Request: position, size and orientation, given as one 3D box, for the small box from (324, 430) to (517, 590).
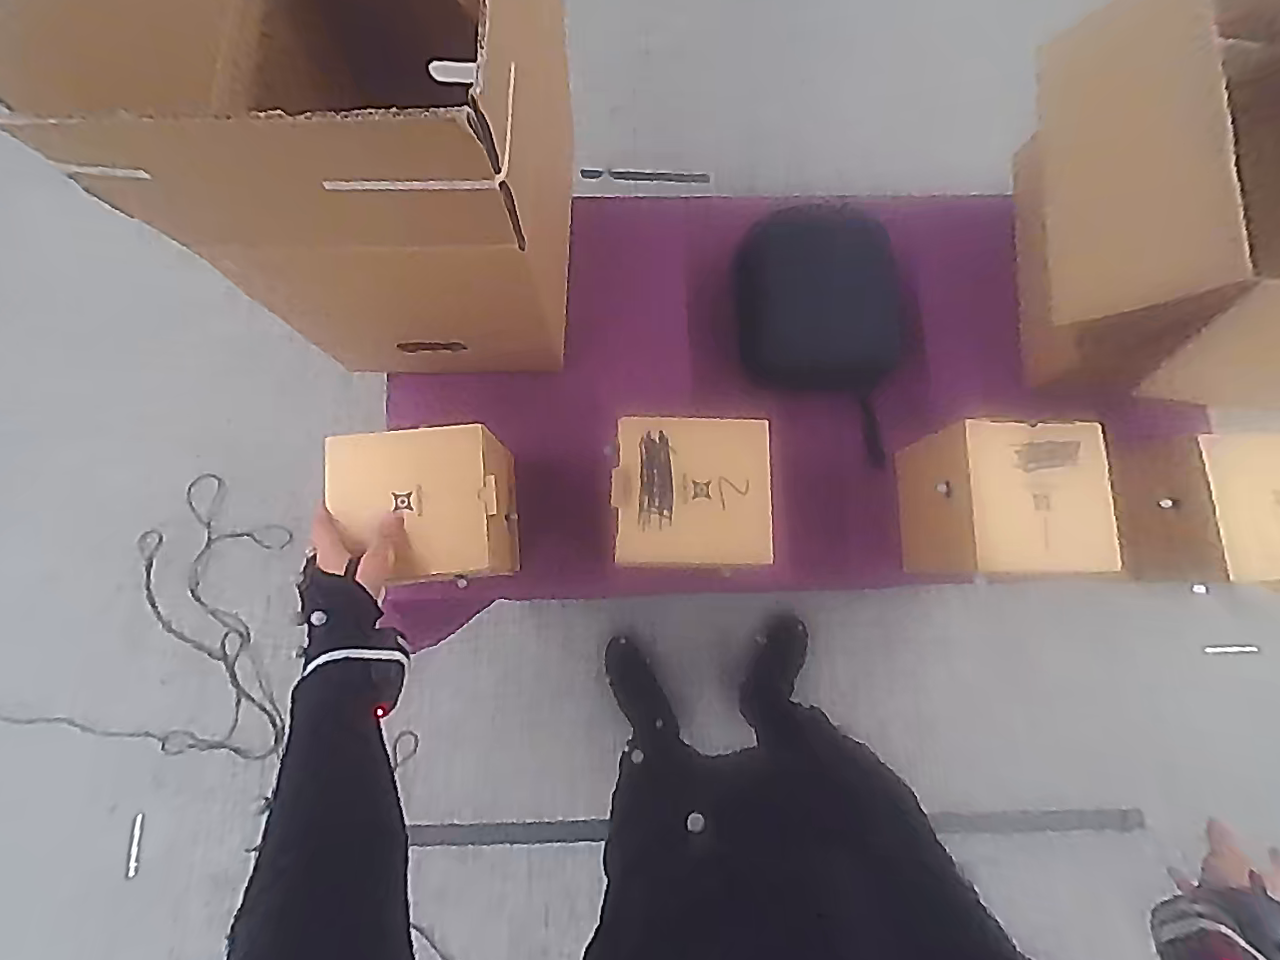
[{"bbox_3d":[-0.258,0.046,0.668,0.179,0.176,0.168,-6,79,-4],"label":"small box"}]
